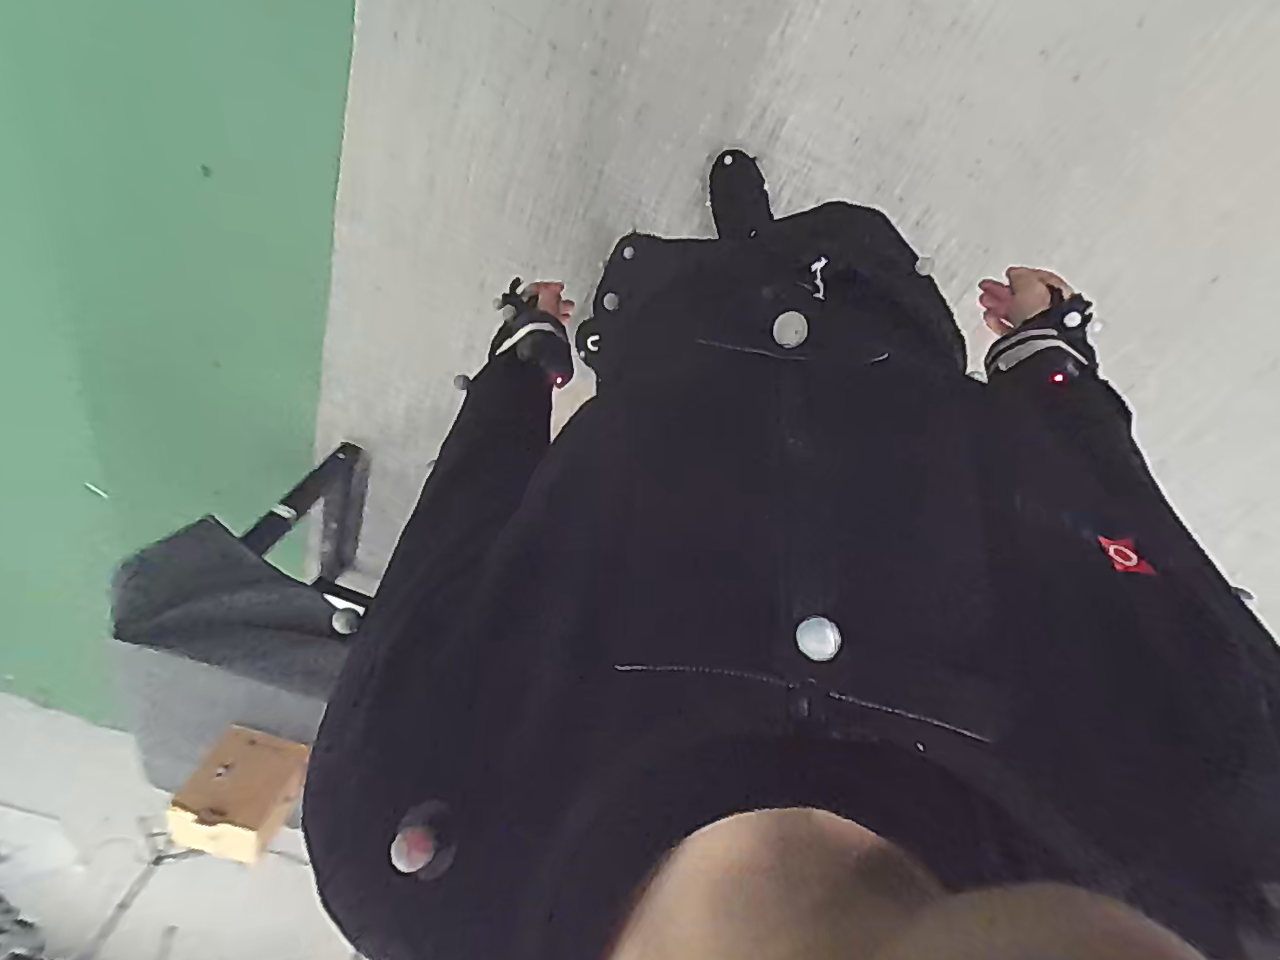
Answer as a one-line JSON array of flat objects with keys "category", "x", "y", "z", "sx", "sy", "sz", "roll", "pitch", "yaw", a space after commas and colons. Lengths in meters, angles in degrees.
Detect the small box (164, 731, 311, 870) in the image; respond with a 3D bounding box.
[{"category": "small box", "x": -0.784, "y": 0.631, "z": 1.073, "sx": 0.168, "sy": 0.176, "sz": 0.179, "roll": 22, "pitch": 125, "yaw": -6}]
